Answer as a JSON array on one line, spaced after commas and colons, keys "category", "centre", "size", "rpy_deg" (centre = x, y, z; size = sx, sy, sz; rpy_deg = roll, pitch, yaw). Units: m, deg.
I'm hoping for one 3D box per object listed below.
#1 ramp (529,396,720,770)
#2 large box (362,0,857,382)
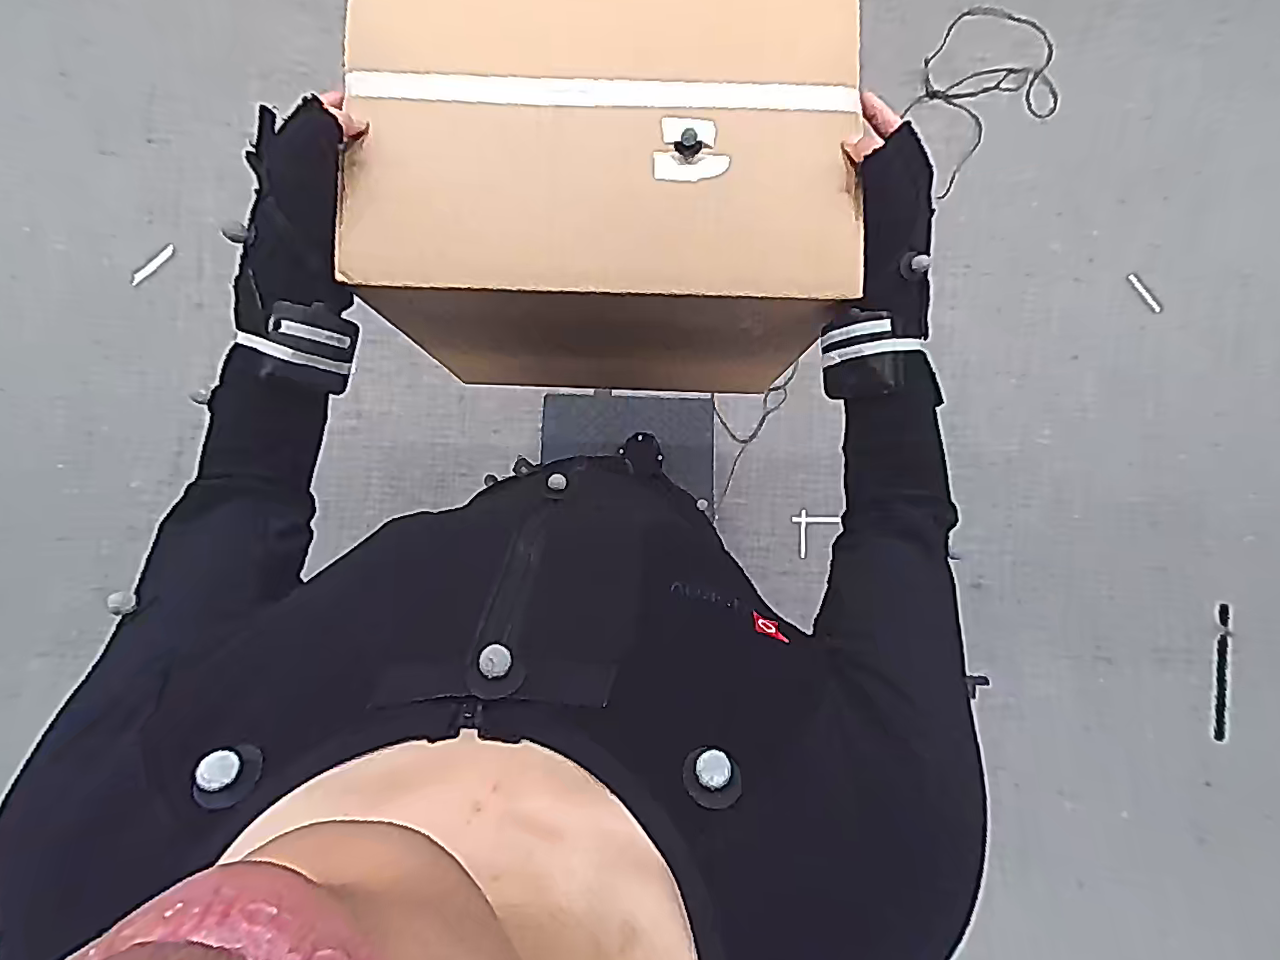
[{"category": "ramp", "centre": [-0.032, 0.247, 1.477], "size": [0.509, 0.206, 0.991], "rpy_deg": [0, 88, 0]}, {"category": "large box", "centre": [-0.026, -0.298, 0.591], "size": [0.408, 0.320, 0.320], "rpy_deg": [1, 86, -1]}]
